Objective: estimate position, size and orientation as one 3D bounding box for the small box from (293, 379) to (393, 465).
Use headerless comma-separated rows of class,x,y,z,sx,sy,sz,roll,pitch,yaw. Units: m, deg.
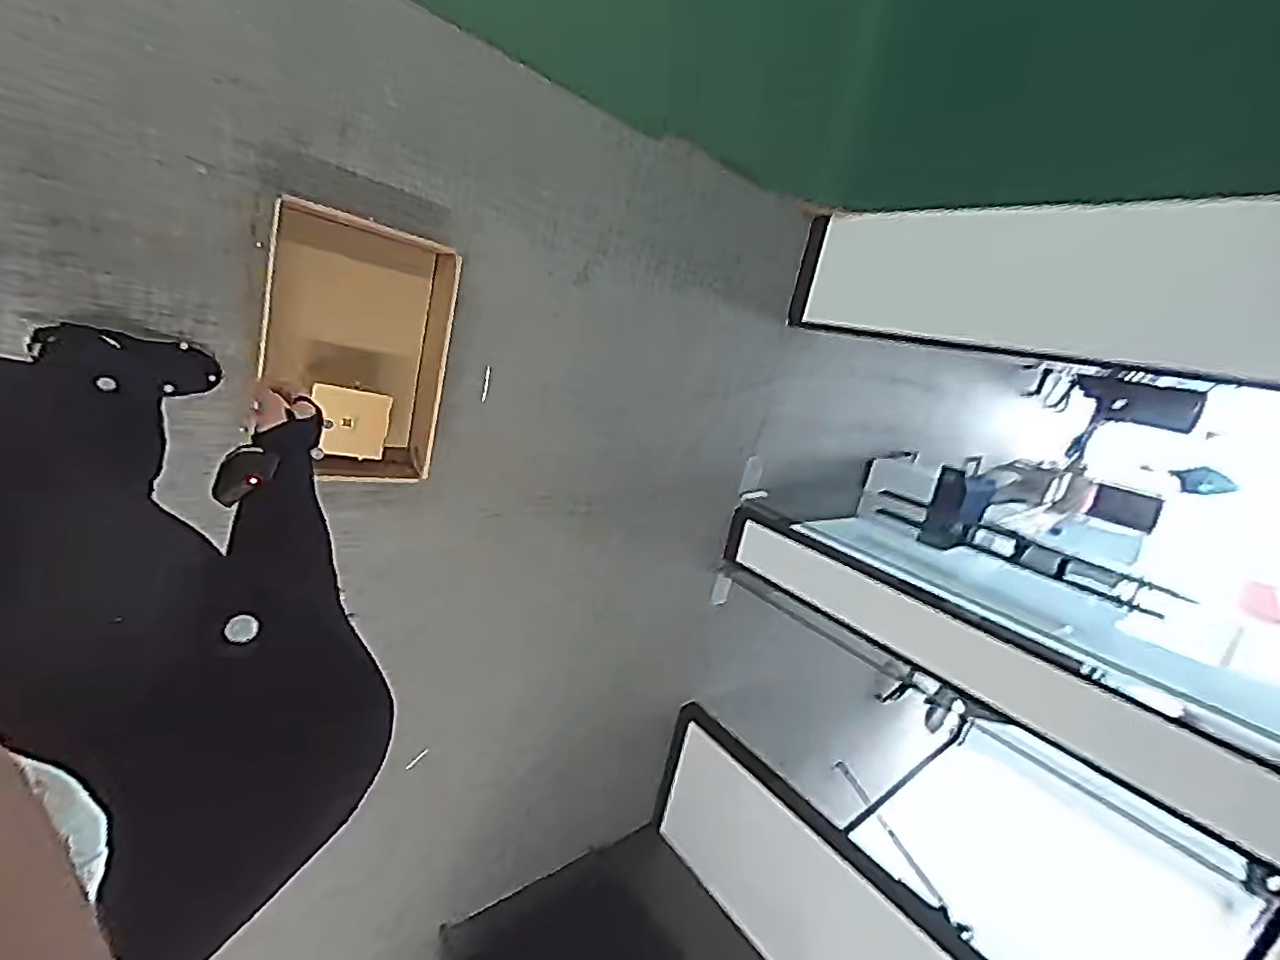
small box,-0.744,-0.146,1.345,0.179,0.176,0.168,7,103,-43
